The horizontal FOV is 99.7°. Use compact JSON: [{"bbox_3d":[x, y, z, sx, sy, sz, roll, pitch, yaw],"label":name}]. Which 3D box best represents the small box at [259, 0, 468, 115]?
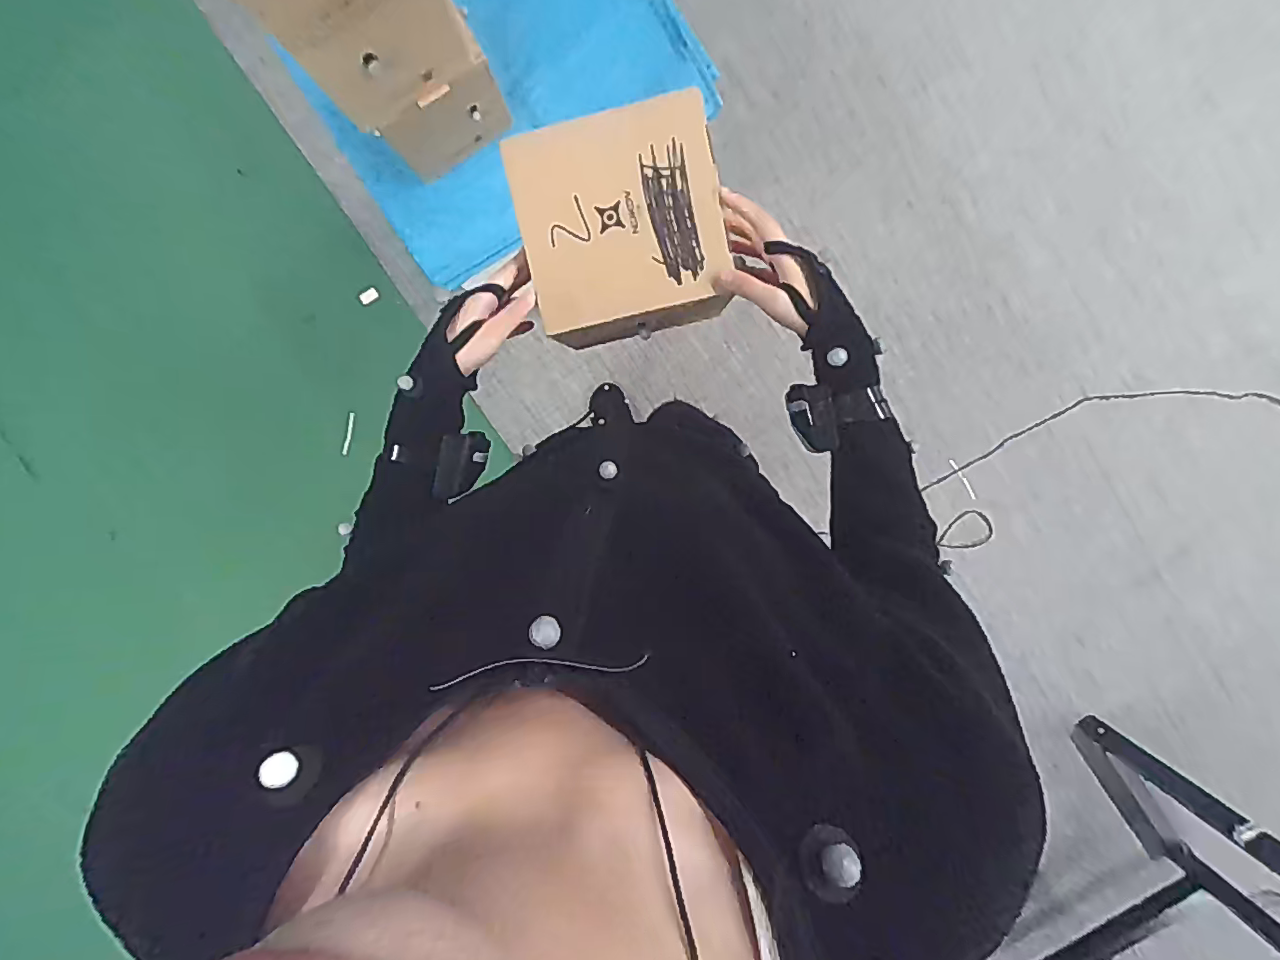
[{"bbox_3d":[-0.310,-0.531,0.570,0.168,0.176,0.179,-30,96,2],"label":"small box"}]

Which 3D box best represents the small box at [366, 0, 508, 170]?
[{"bbox_3d":[-0.303,-0.557,0.730,0.168,0.176,0.179,-31,96,2],"label":"small box"}]
